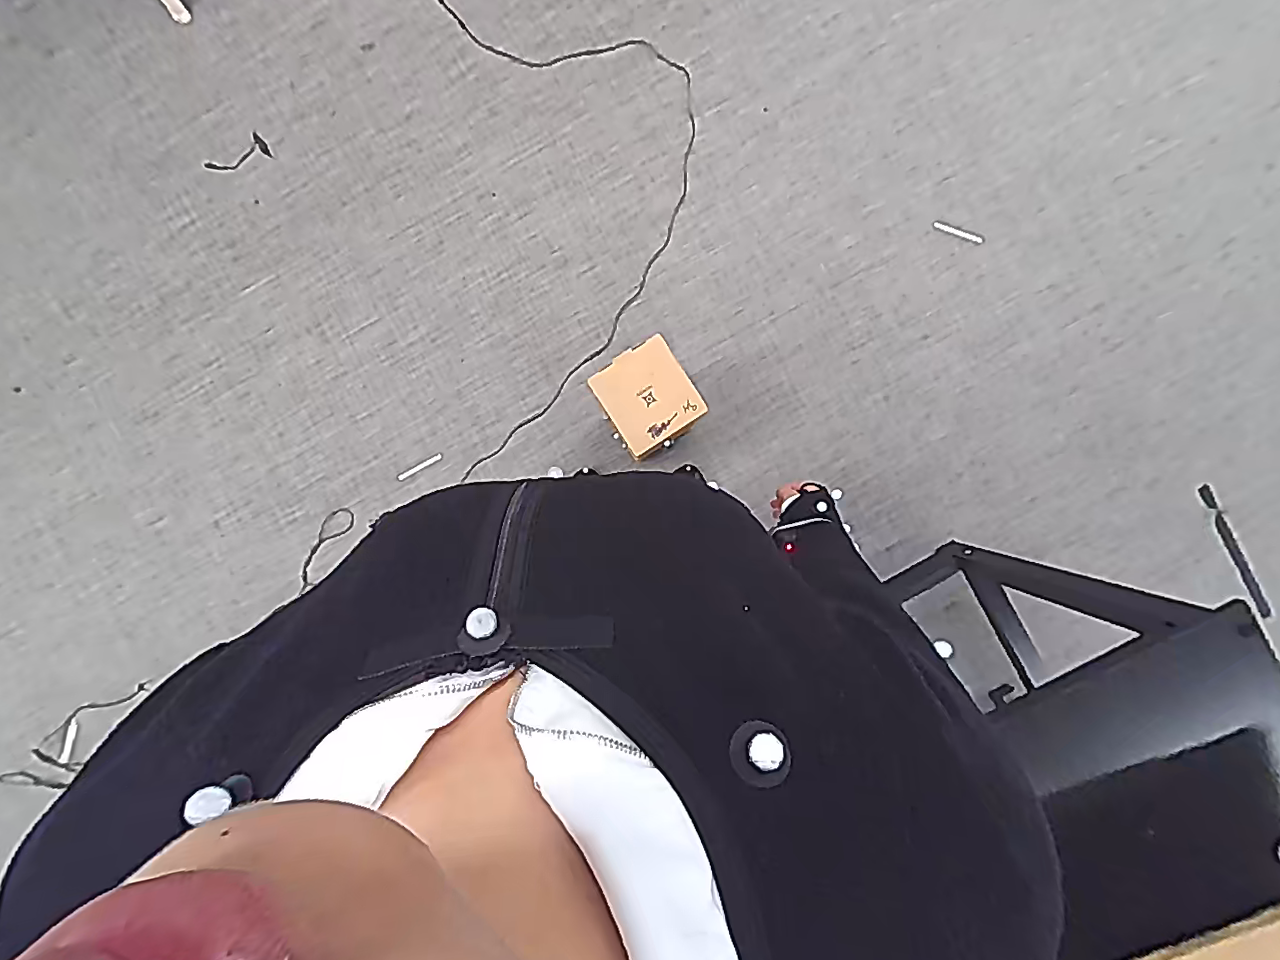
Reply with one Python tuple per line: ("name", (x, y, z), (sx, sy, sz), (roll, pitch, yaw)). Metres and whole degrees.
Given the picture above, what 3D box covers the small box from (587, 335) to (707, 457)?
("small box", (0.013, -0.158, 1.090), (0.168, 0.176, 0.179), (-33, 90, 2))
